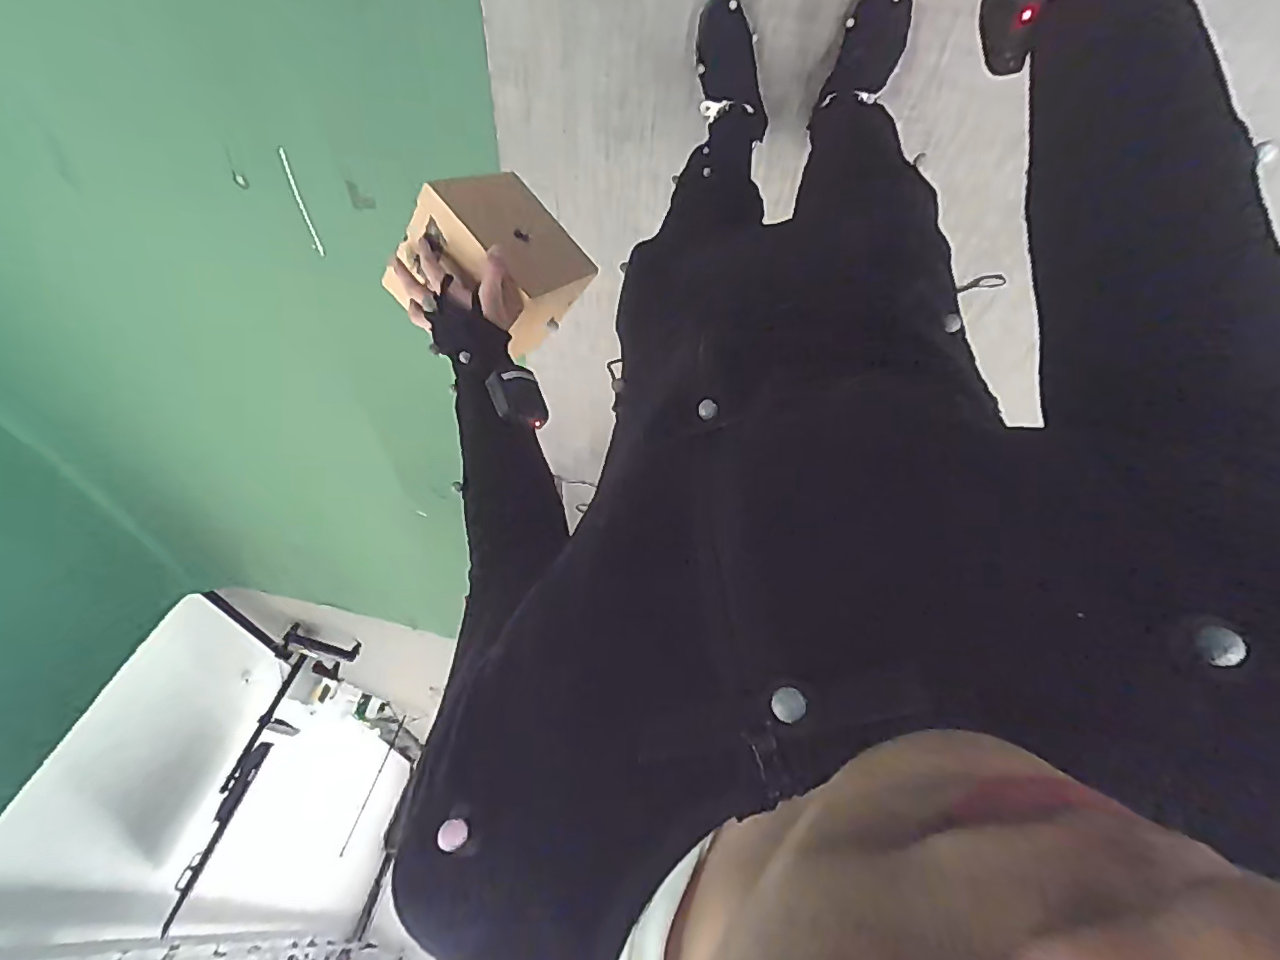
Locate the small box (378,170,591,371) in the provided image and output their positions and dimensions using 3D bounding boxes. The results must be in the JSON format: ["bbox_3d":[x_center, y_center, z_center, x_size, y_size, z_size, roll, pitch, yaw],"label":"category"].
[{"bbox_3d":[-0.201,-0.282,0.721,0.179,0.176,0.168,47,131,-8],"label":"small box"}]
